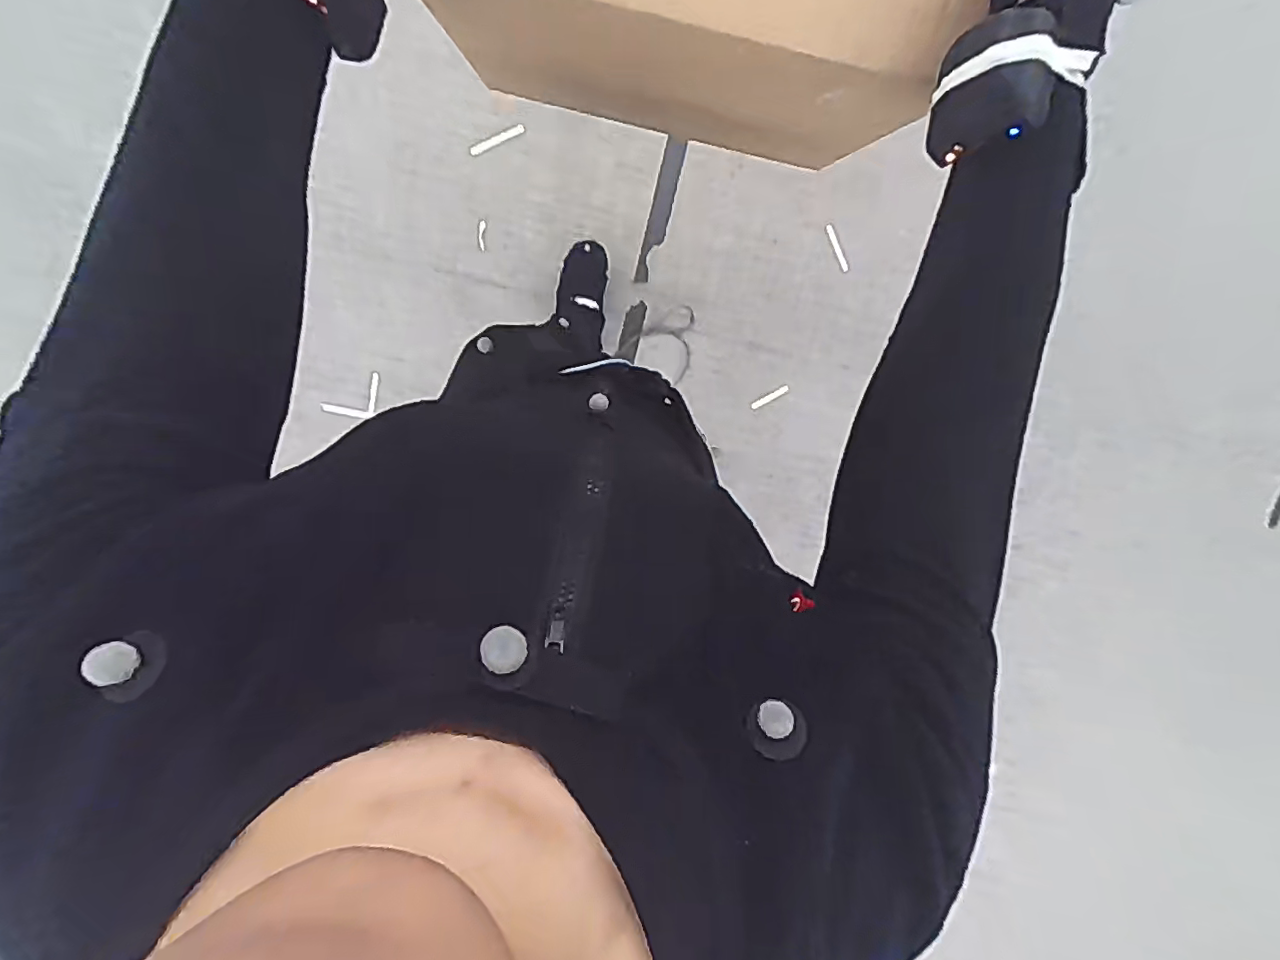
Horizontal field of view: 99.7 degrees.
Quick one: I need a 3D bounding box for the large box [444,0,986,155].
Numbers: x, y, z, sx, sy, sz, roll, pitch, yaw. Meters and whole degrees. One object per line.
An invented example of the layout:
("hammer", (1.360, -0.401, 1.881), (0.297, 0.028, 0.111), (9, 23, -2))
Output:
("large box", (0.057, -0.512, 0.450), (0.408, 0.320, 0.320), (10, 112, -6))
